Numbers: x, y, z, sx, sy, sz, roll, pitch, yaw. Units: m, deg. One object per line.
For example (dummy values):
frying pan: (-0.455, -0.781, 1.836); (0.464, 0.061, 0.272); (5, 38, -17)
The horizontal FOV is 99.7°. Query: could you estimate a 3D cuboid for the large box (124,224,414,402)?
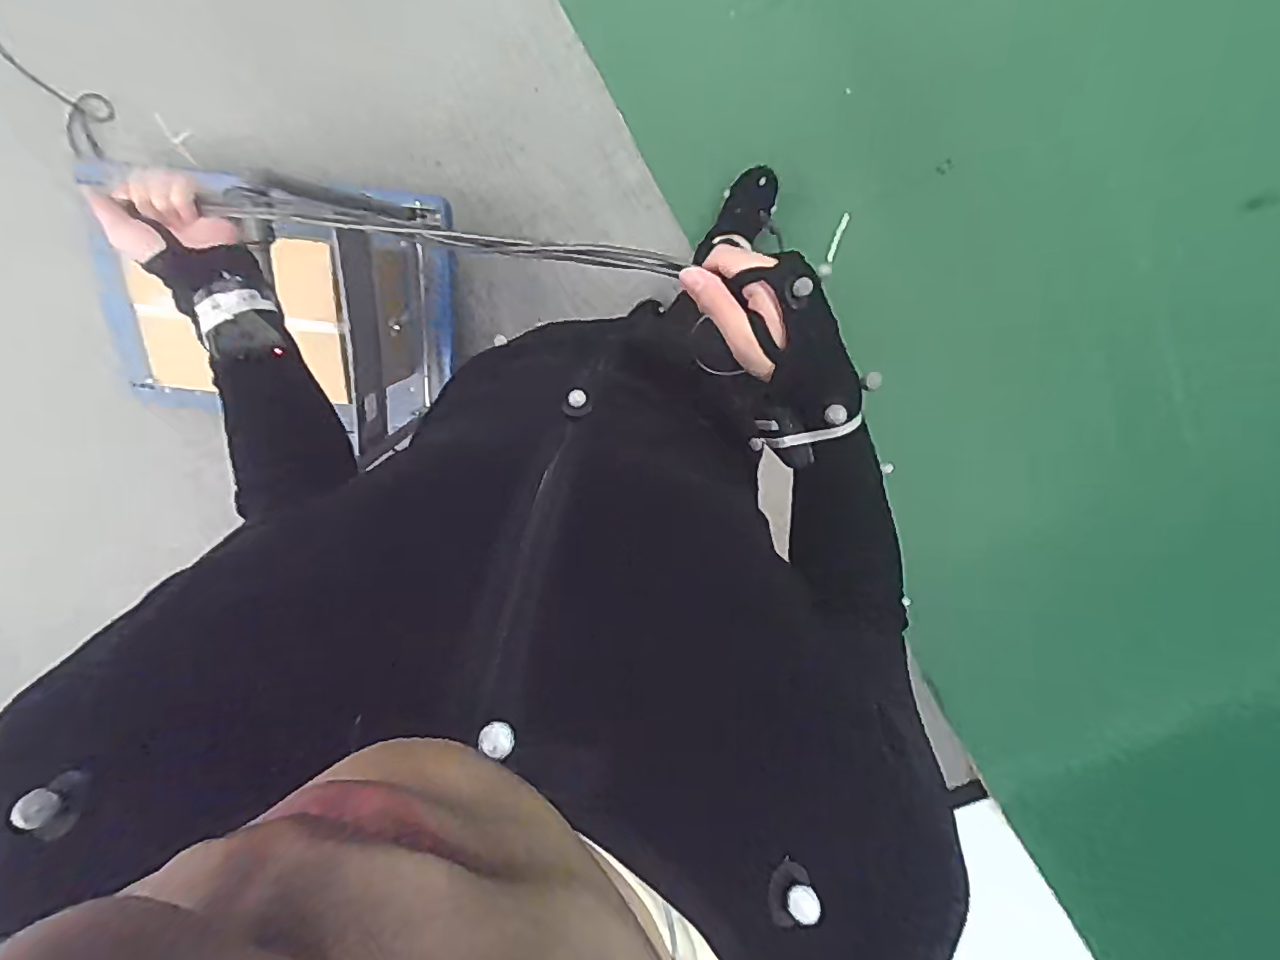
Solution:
large box: (-0.768, -0.374, 1.195); (0.408, 0.320, 0.320); (6, 112, 1)
